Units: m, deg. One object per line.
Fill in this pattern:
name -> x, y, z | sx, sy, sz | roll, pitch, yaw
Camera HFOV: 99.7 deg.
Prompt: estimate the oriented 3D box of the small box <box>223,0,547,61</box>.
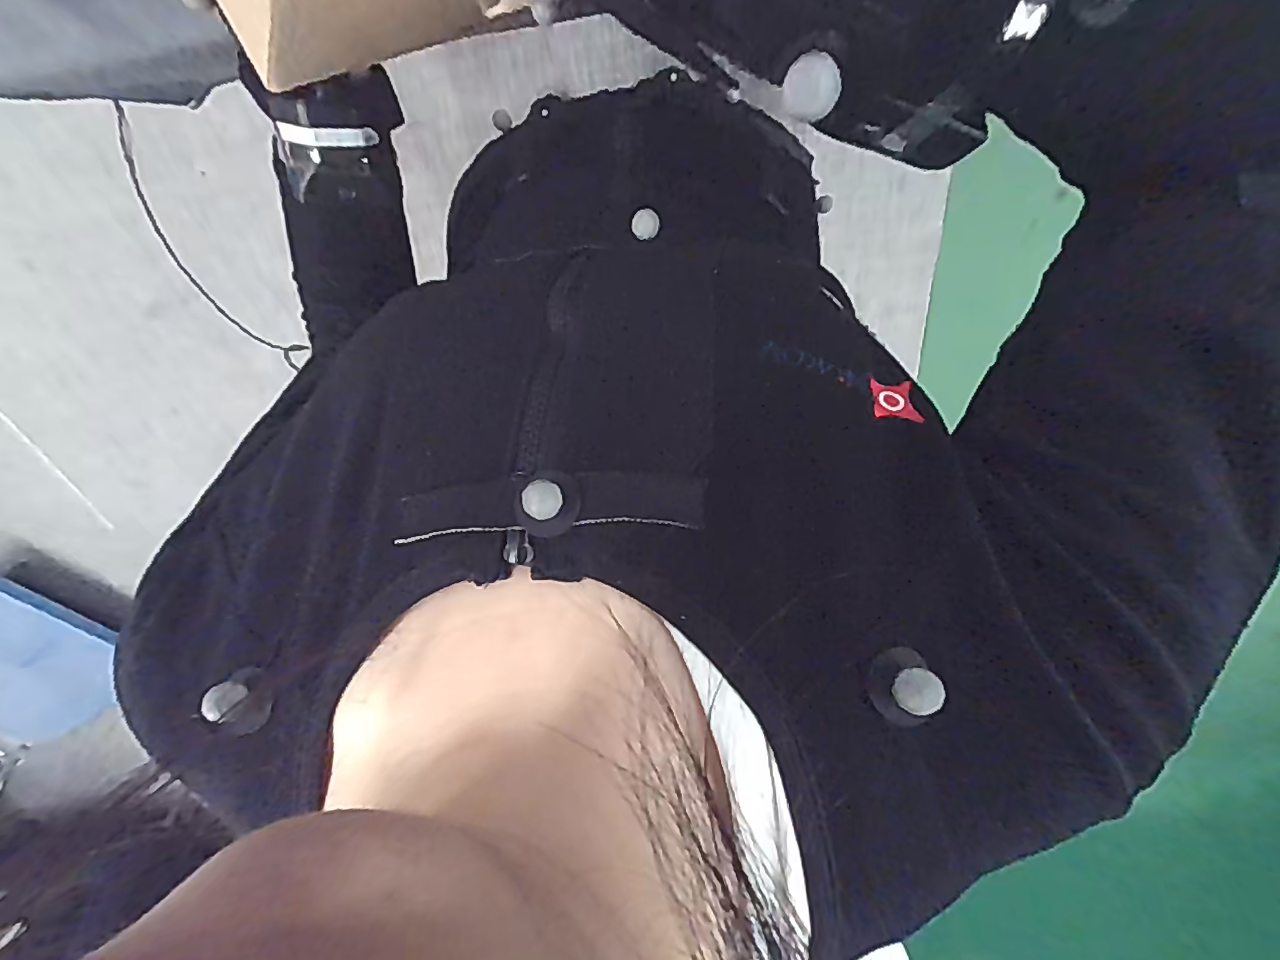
small box -> -0.100, -0.278, 0.188 | 0.168, 0.176, 0.179 | -34, 126, -20
